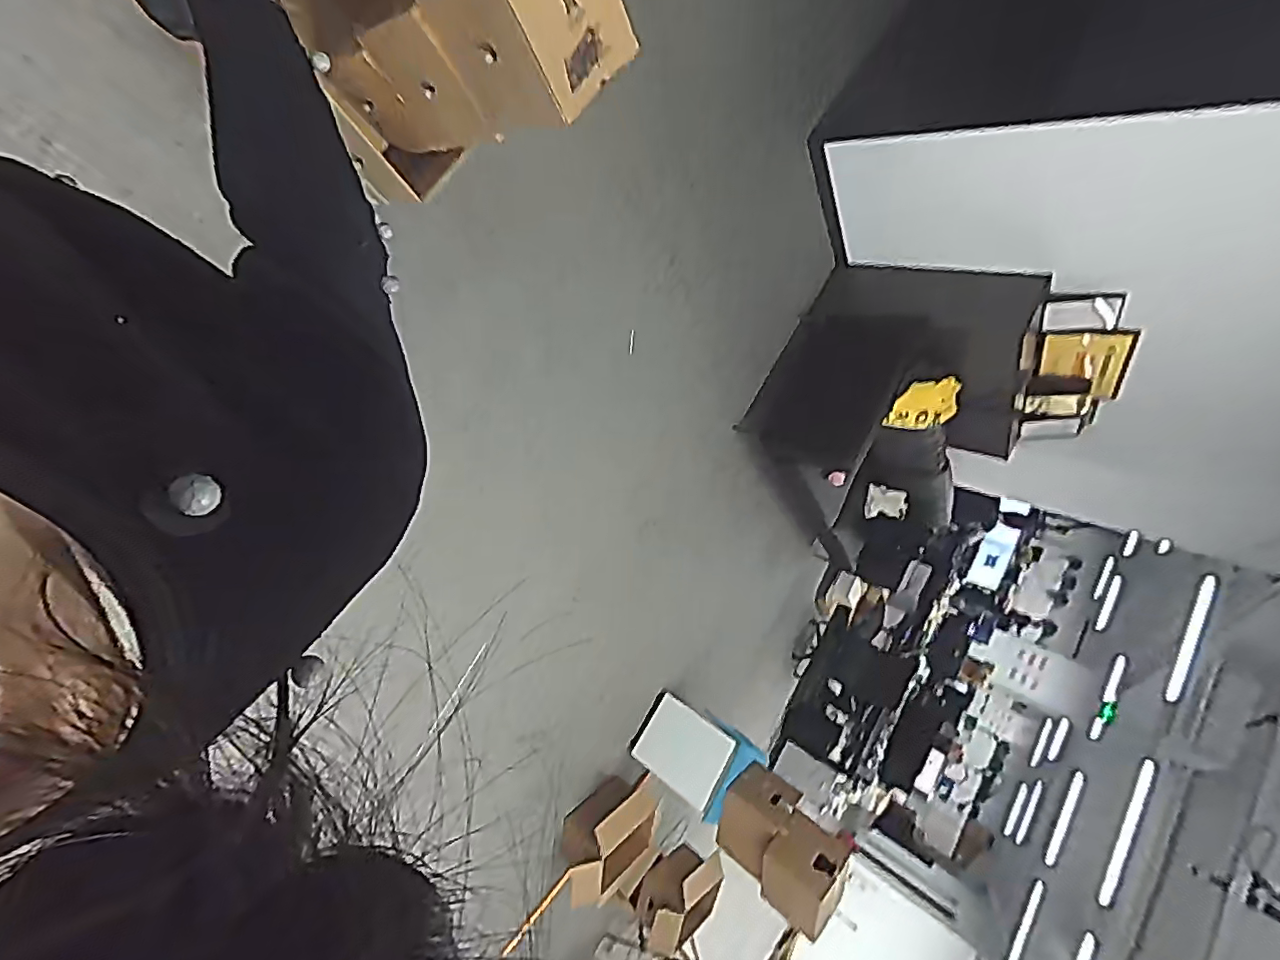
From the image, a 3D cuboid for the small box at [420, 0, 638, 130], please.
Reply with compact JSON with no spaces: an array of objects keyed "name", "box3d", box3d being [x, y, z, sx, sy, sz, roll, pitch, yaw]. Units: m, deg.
[{"name":"small box","box3d":[-0.139,-0.584,0.697,0.168,0.176,0.179,-55,140,-16]}]
